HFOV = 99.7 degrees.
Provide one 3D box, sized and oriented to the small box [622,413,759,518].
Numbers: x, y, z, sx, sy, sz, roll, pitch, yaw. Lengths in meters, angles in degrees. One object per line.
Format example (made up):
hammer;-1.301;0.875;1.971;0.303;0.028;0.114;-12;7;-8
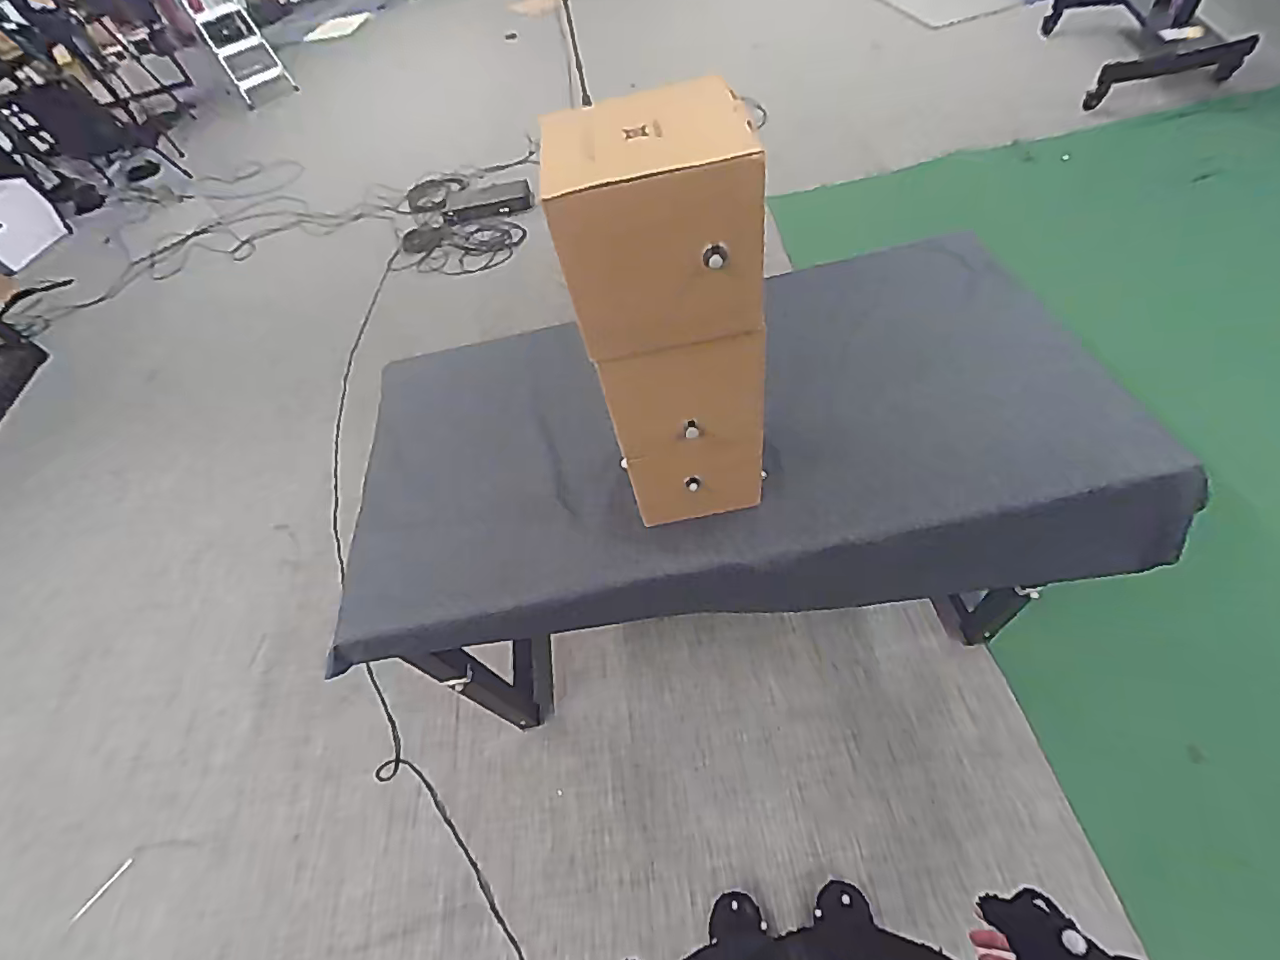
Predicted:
small box;0.067;-0.065;0.785;0.179;0.176;0.168;-12;54;4

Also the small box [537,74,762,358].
small box;0.012;-0.244;0.518;0.179;0.176;0.168;-11;53;5

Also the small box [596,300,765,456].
small box;0.041;-0.153;0.653;0.179;0.176;0.168;-13;55;3
